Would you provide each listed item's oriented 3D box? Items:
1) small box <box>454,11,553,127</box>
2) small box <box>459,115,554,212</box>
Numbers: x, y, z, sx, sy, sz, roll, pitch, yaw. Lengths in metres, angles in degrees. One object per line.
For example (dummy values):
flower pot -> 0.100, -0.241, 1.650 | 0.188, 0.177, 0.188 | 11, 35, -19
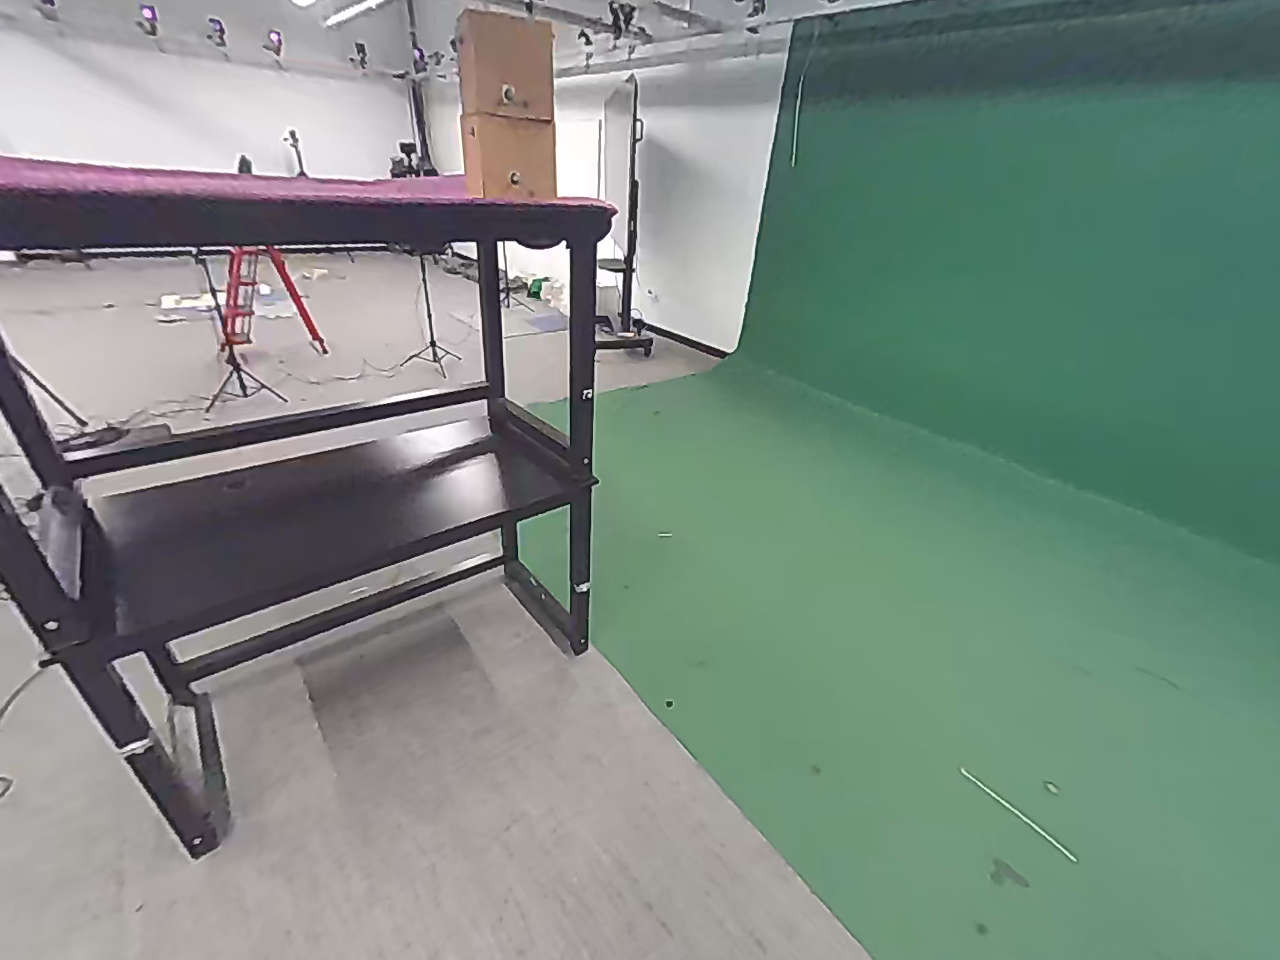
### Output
small box -> -0.284, -0.842, 1.124 | 0.168, 0.176, 0.179 | -11, 36, -22
small box -> -0.299, -0.706, 1.211 | 0.168, 0.176, 0.179 | -13, 35, -26
